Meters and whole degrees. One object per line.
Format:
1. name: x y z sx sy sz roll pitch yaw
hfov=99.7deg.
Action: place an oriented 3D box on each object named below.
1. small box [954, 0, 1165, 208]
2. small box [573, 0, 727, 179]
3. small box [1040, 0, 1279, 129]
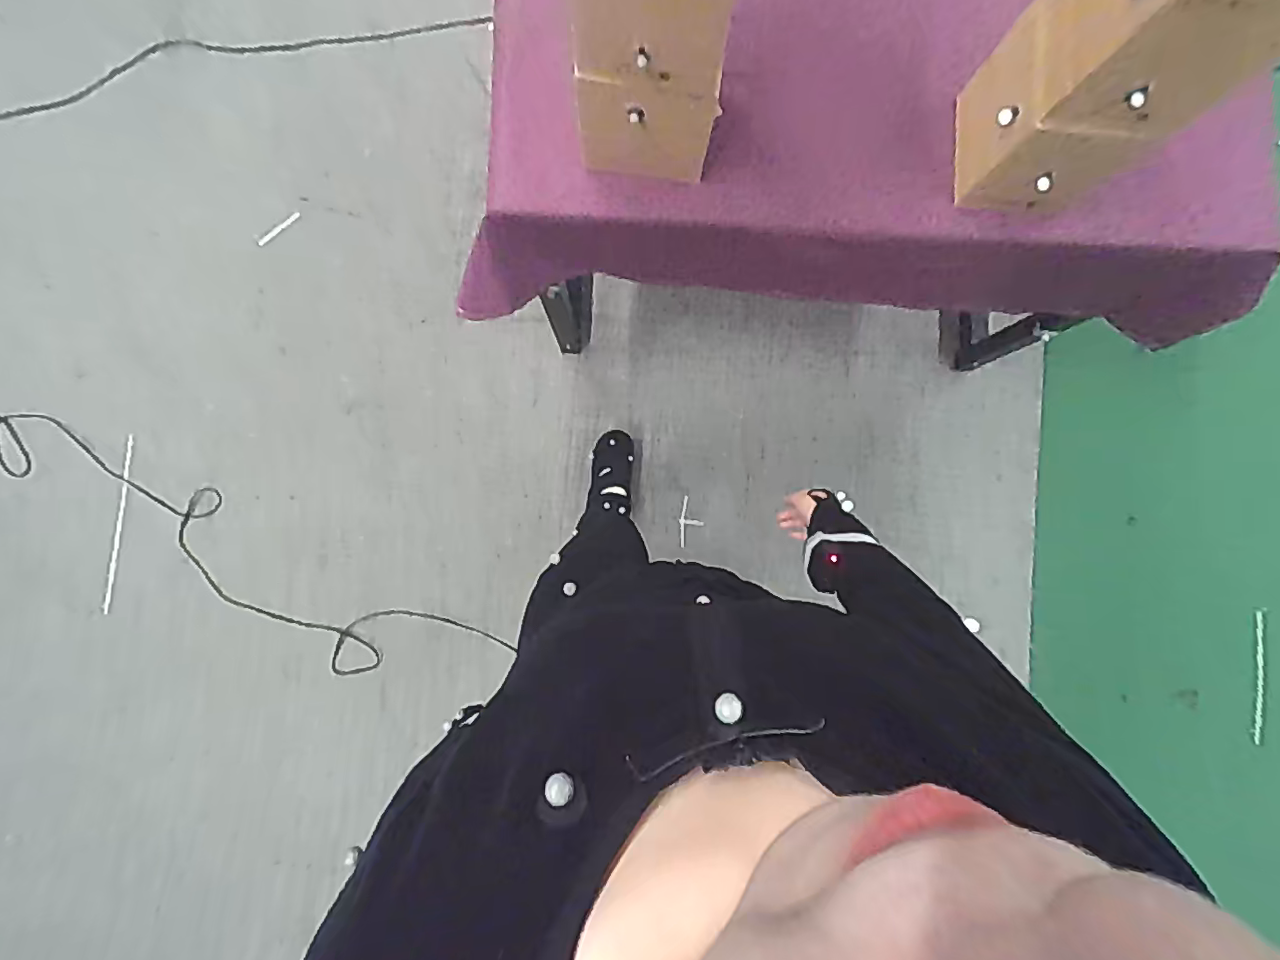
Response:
1. small box: 0.558 -0.501 0.739 0.168 0.176 0.179 4 86 -2
2. small box: 0.012 -0.536 0.727 0.179 0.176 0.168 6 86 -2
3. small box: 0.568 -0.520 0.577 0.168 0.176 0.179 4 87 -1
